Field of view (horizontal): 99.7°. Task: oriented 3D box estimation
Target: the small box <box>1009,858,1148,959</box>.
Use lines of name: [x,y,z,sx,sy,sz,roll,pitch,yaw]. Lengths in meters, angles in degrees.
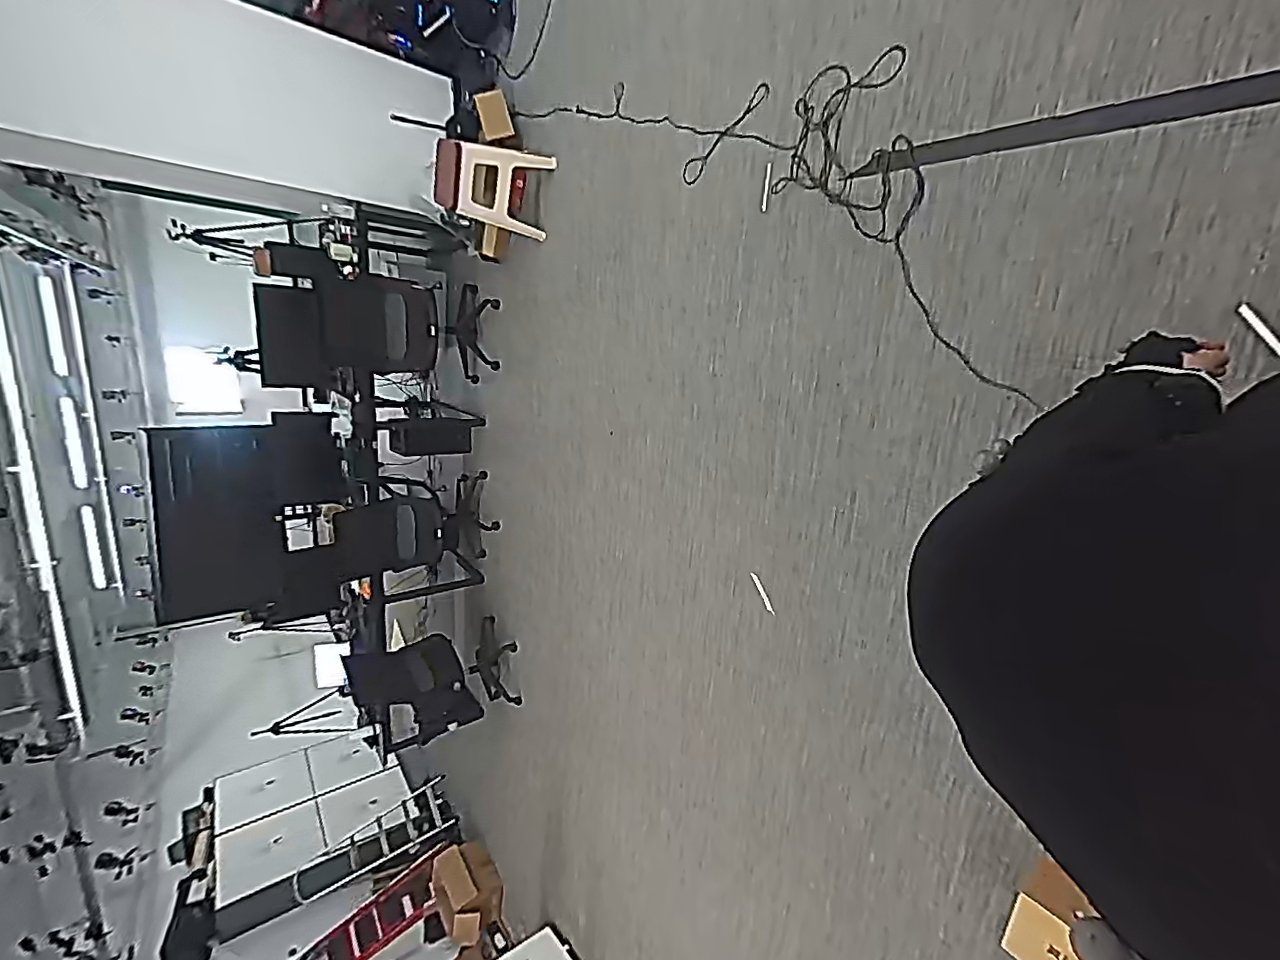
small box: [0.947,0.968,1.171,0.179,0.176,0.168,23,113,48]
